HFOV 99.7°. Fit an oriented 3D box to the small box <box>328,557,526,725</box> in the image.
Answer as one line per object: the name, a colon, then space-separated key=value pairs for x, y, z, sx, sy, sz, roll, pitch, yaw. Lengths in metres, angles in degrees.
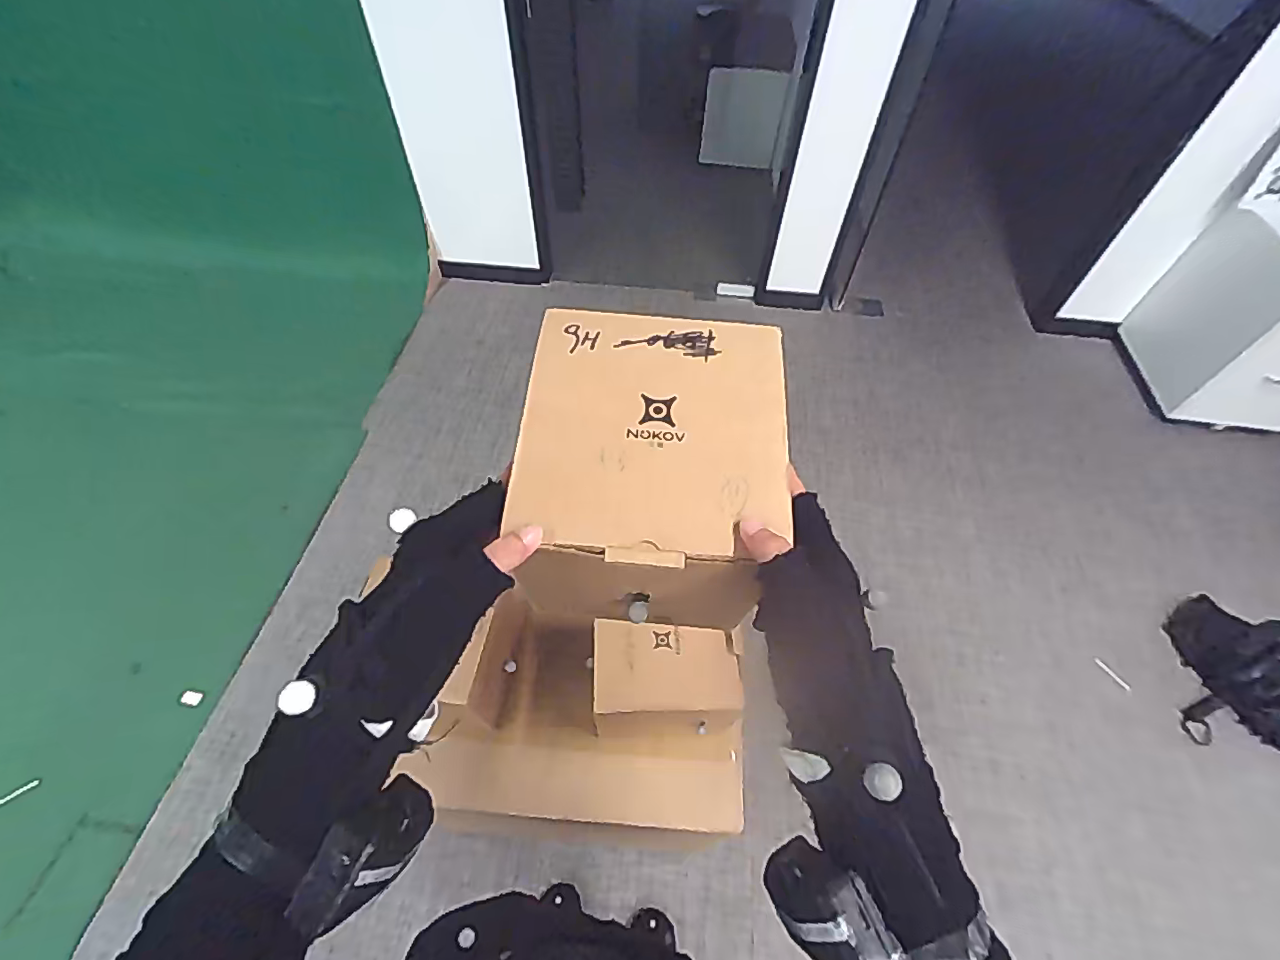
small box: x=-0.270 y=0.223 z=0.734 sx=0.179 sy=0.176 sz=0.168 roll=7 pitch=57 yaw=4

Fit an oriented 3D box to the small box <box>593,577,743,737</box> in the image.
small box: x=0.030 y=0.242 z=0.728 sx=0.179 sy=0.176 sz=0.168 roll=-2 pitch=55 yaw=-1
